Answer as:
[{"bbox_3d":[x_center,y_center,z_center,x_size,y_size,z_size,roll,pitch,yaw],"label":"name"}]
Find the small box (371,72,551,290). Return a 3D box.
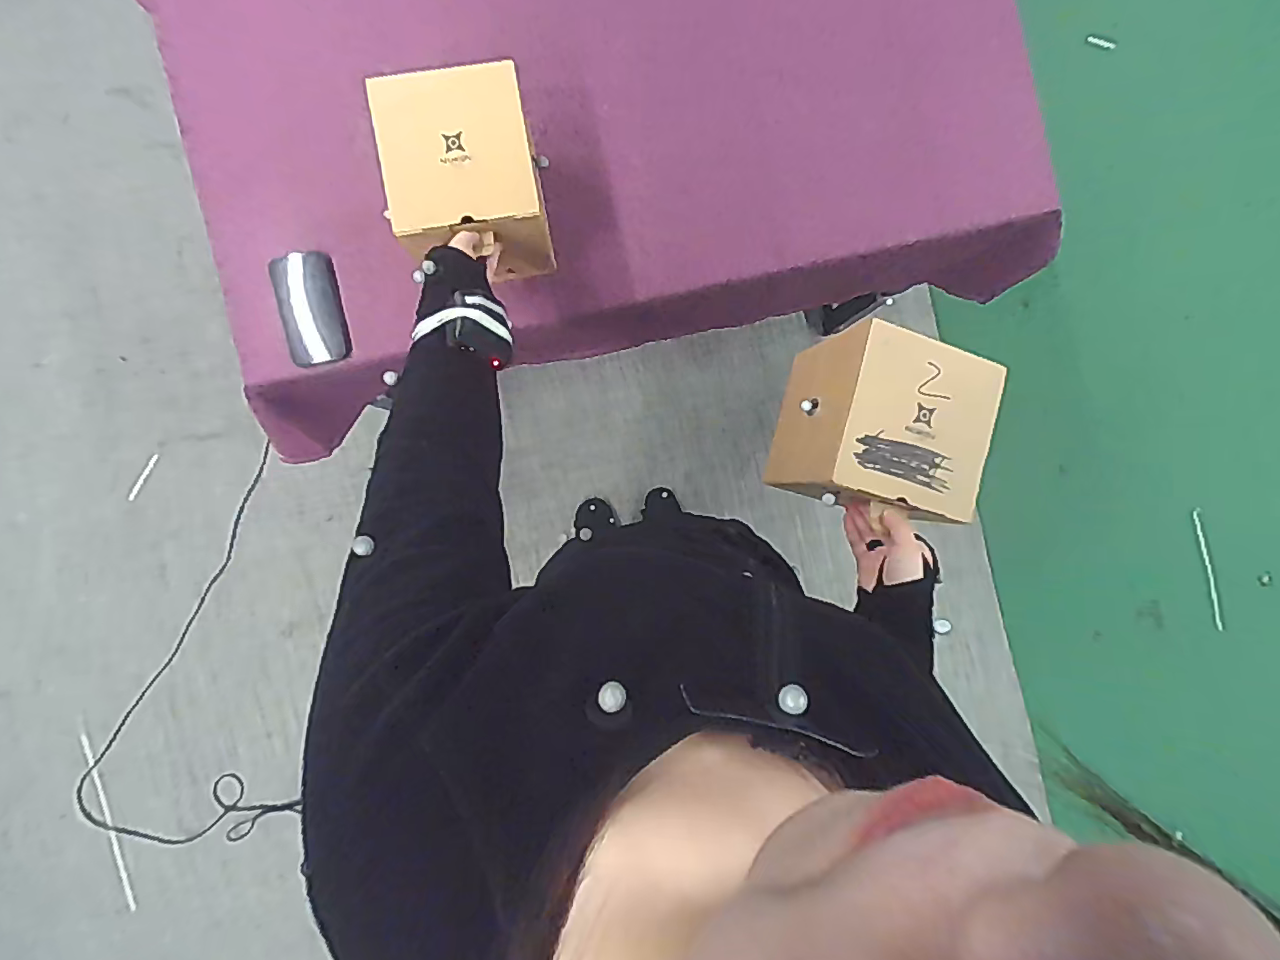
[{"bbox_3d":[-0.213,-0.365,0.687,0.168,0.176,0.179,-10,91,-4],"label":"small box"}]
